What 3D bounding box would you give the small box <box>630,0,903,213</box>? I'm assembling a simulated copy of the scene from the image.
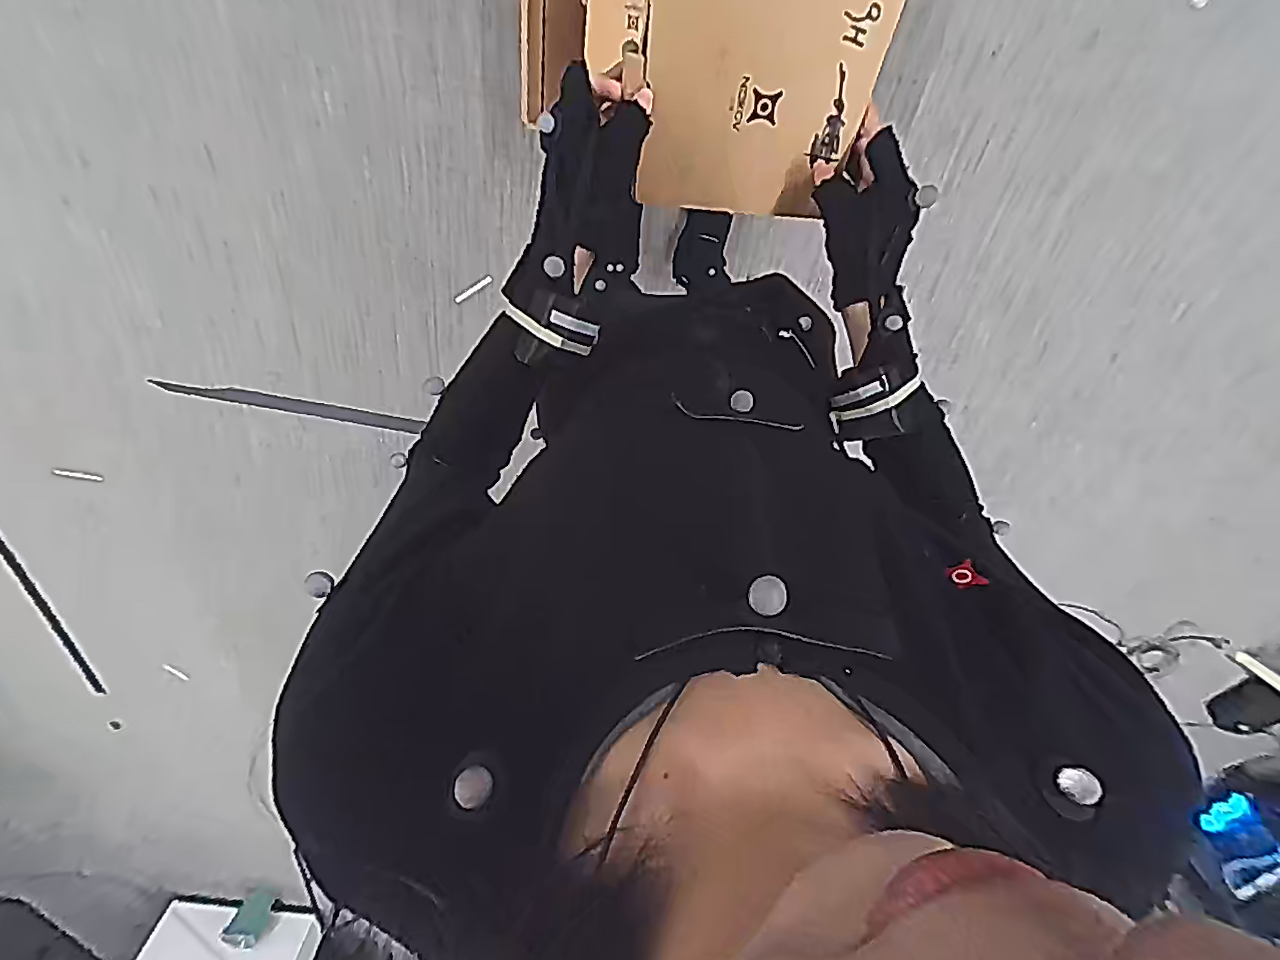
[{"bbox_3d":[0.089,-0.356,0.458,0.179,0.176,0.168,5,142,-3],"label":"small box"}]
